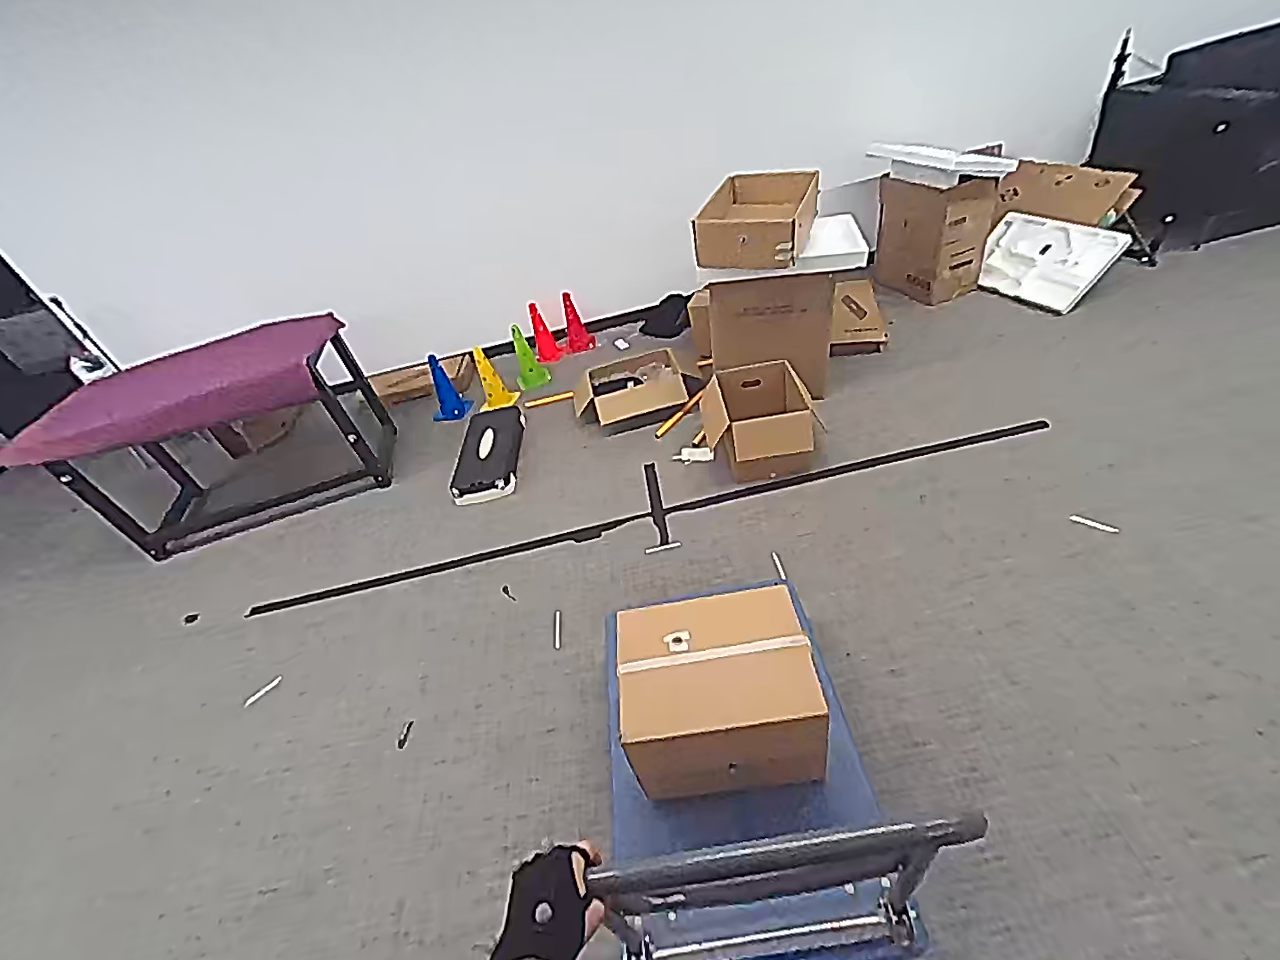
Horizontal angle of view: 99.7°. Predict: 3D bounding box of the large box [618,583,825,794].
[{"bbox_3d":[0.183,0.488,1.259,0.408,0.320,0.320,-11,39,5],"label":"large box"}]
